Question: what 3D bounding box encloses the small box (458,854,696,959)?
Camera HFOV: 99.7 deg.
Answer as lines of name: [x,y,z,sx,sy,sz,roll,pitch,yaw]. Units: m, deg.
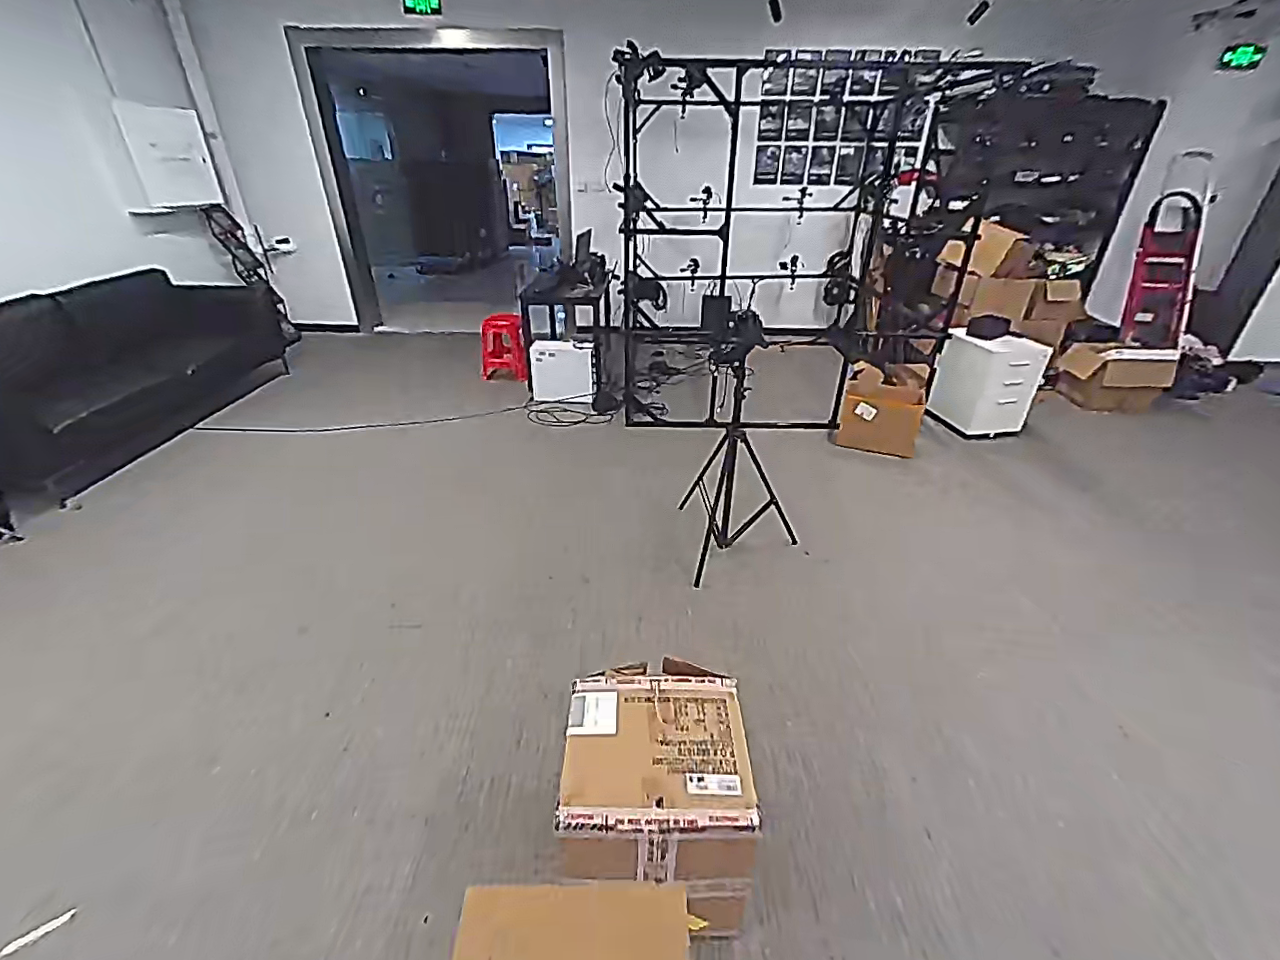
small box: [-0.044,0.404,0.401,0.168,0.176,0.179,0,43,0]
